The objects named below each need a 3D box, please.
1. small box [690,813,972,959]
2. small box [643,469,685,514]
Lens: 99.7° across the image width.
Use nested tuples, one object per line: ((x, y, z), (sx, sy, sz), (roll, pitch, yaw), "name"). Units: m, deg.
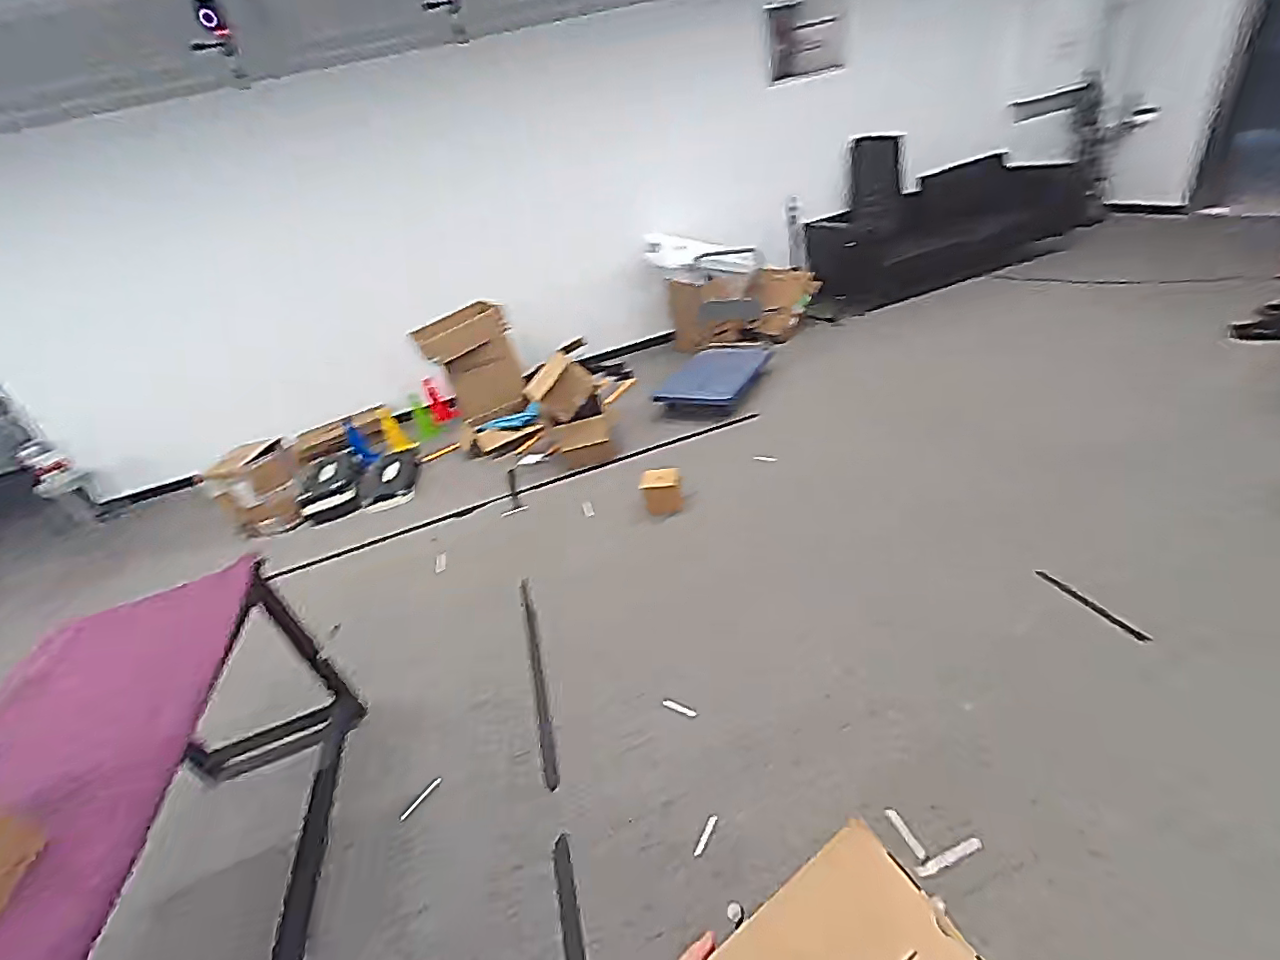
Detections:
((0.165, 0.406, 0.431), (0.179, 0.176, 0.168), (-37, 53, -10), "small box")
((0.128, 0.063, 2.775), (0.179, 0.176, 0.168), (-5, 31, 14), "small box")
